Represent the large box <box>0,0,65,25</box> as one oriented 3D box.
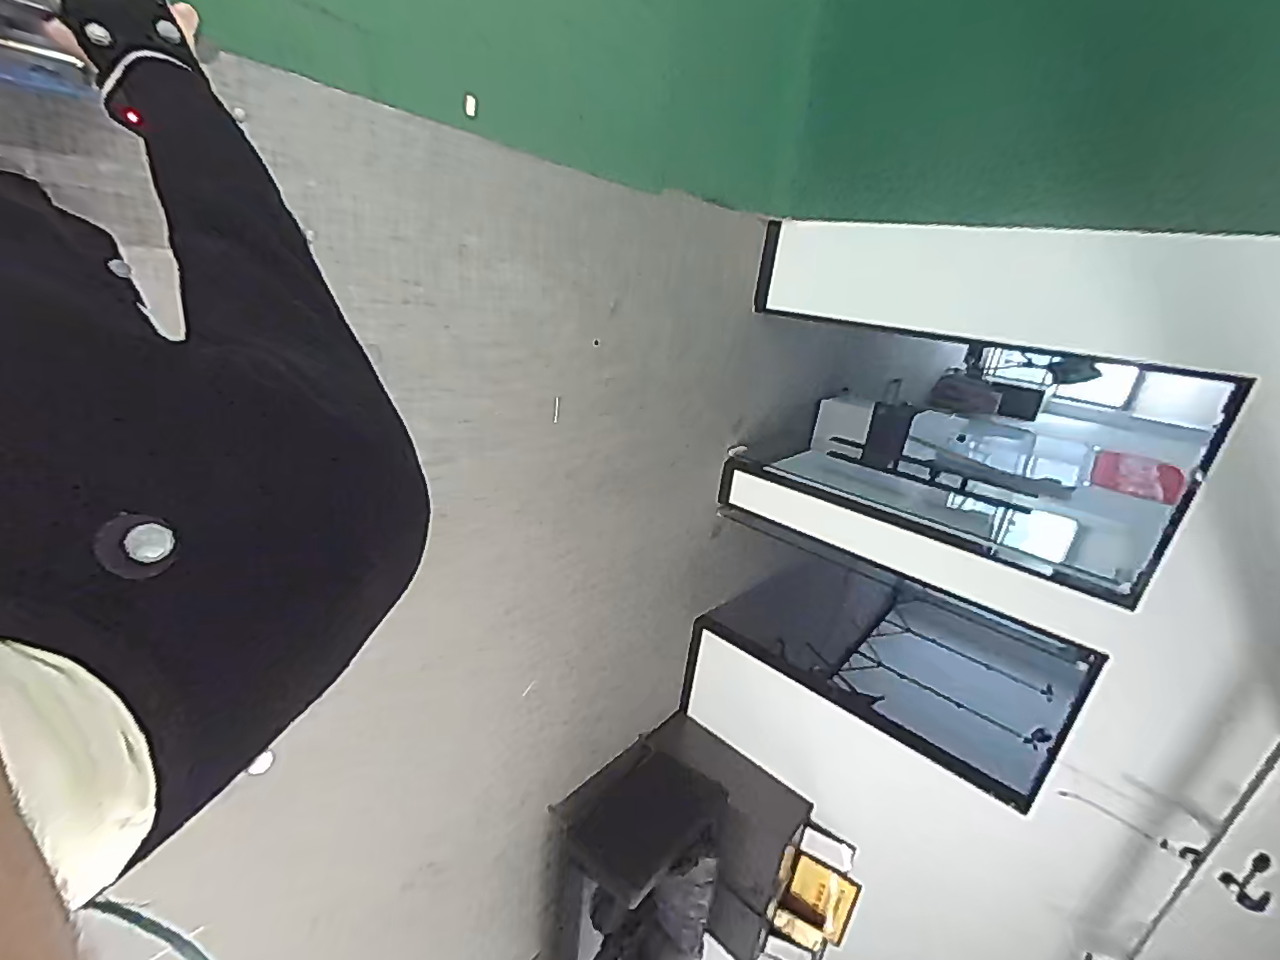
[{"bbox_3d":[-0.922,-0.843,0.611,0.320,0.320,0.408,-17,120,-47],"label":"large box"}]
